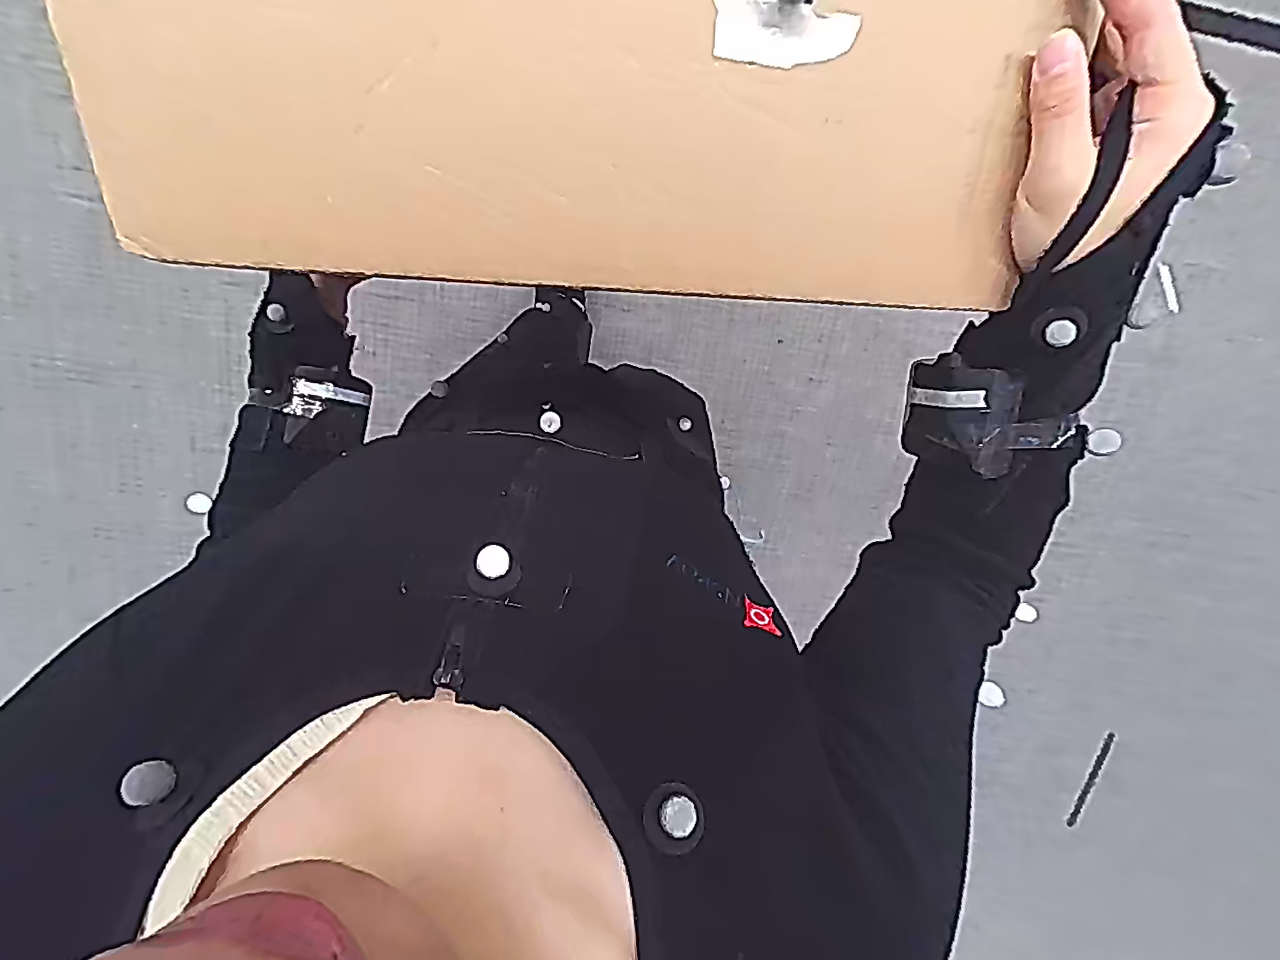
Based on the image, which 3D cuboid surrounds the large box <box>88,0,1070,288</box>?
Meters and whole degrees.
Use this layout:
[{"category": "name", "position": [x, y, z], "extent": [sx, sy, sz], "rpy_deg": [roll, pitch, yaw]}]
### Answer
[{"category": "large box", "position": [-0.025, -0.297, 0.340], "extent": [0.408, 0.320, 0.320], "rpy_deg": [0, 113, -7]}]
